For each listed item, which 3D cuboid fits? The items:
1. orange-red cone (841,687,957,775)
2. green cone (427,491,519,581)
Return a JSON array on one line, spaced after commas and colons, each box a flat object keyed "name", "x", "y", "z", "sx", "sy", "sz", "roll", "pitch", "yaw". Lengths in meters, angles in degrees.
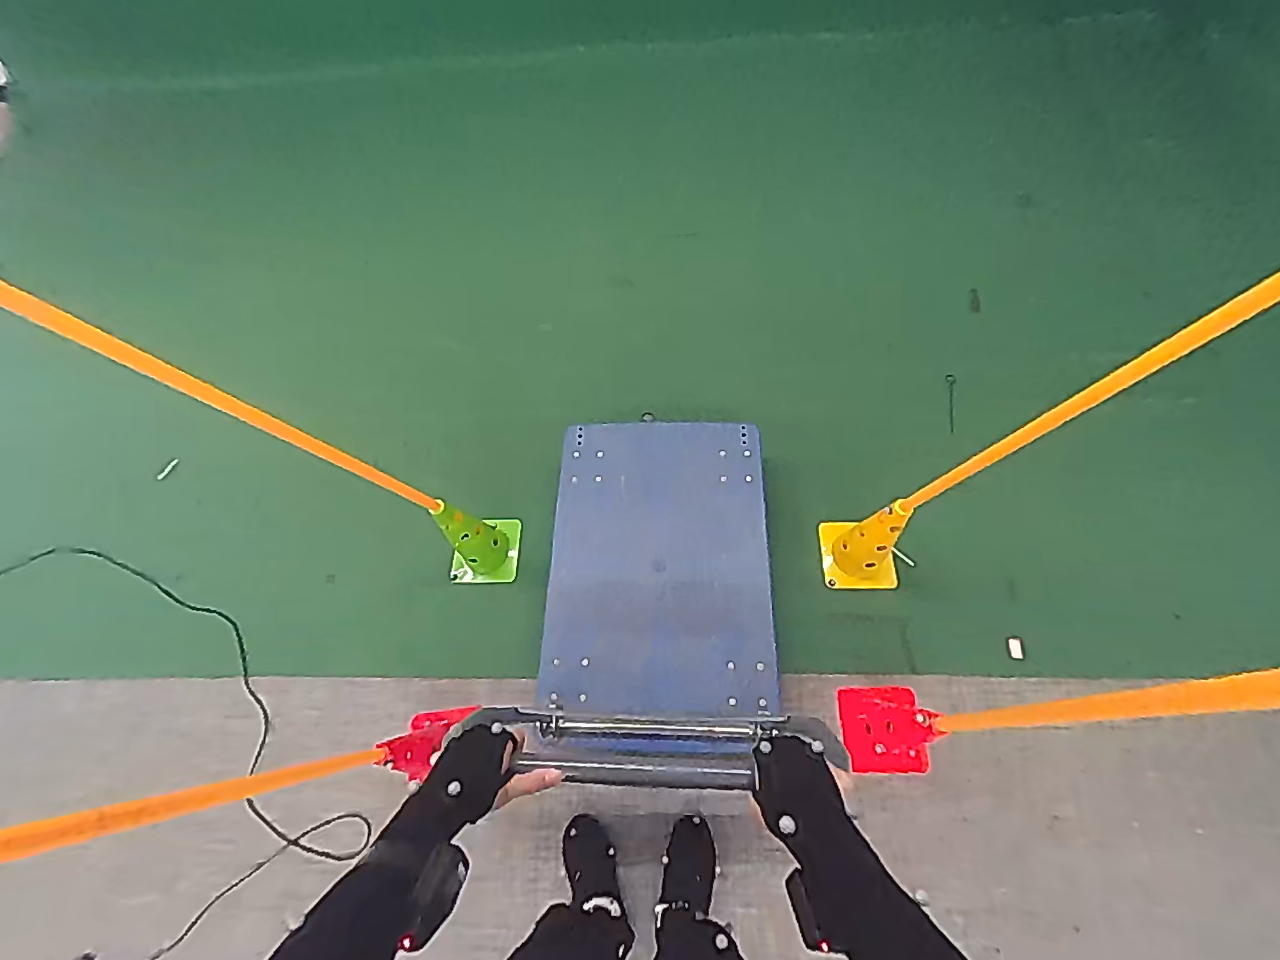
[{"name": "orange-red cone", "x": 0.597, "y": 0.541, "z": 1.191, "sx": 0.198, "sy": 0.360, "sz": 0.199, "roll": -1, "pitch": 62, "yaw": 3}, {"name": "green cone", "x": -0.482, "y": 0.128, "z": 1.473, "sx": 0.200, "sy": 0.368, "sz": 0.202, "roll": -2, "pitch": 63, "yaw": 5}]
